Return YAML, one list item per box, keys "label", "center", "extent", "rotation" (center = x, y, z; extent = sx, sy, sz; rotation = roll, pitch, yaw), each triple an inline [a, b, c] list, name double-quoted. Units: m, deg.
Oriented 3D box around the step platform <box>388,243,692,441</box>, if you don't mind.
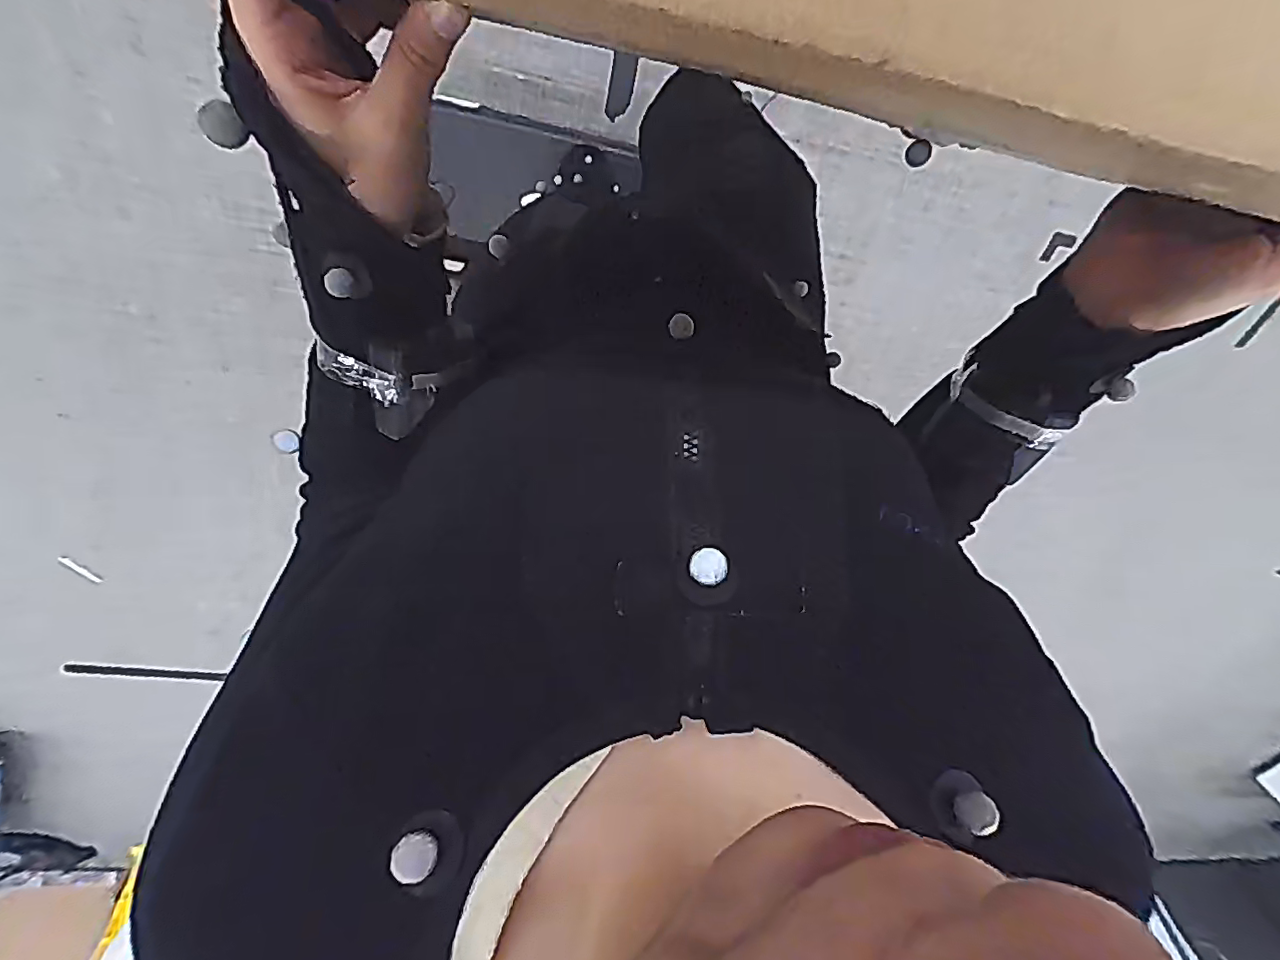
- label: "step platform"
  center: [-0.224, -0.314, 1.288]
  extent: [0.684, 0.204, 0.286]
  rotation: [13, 123, -13]
